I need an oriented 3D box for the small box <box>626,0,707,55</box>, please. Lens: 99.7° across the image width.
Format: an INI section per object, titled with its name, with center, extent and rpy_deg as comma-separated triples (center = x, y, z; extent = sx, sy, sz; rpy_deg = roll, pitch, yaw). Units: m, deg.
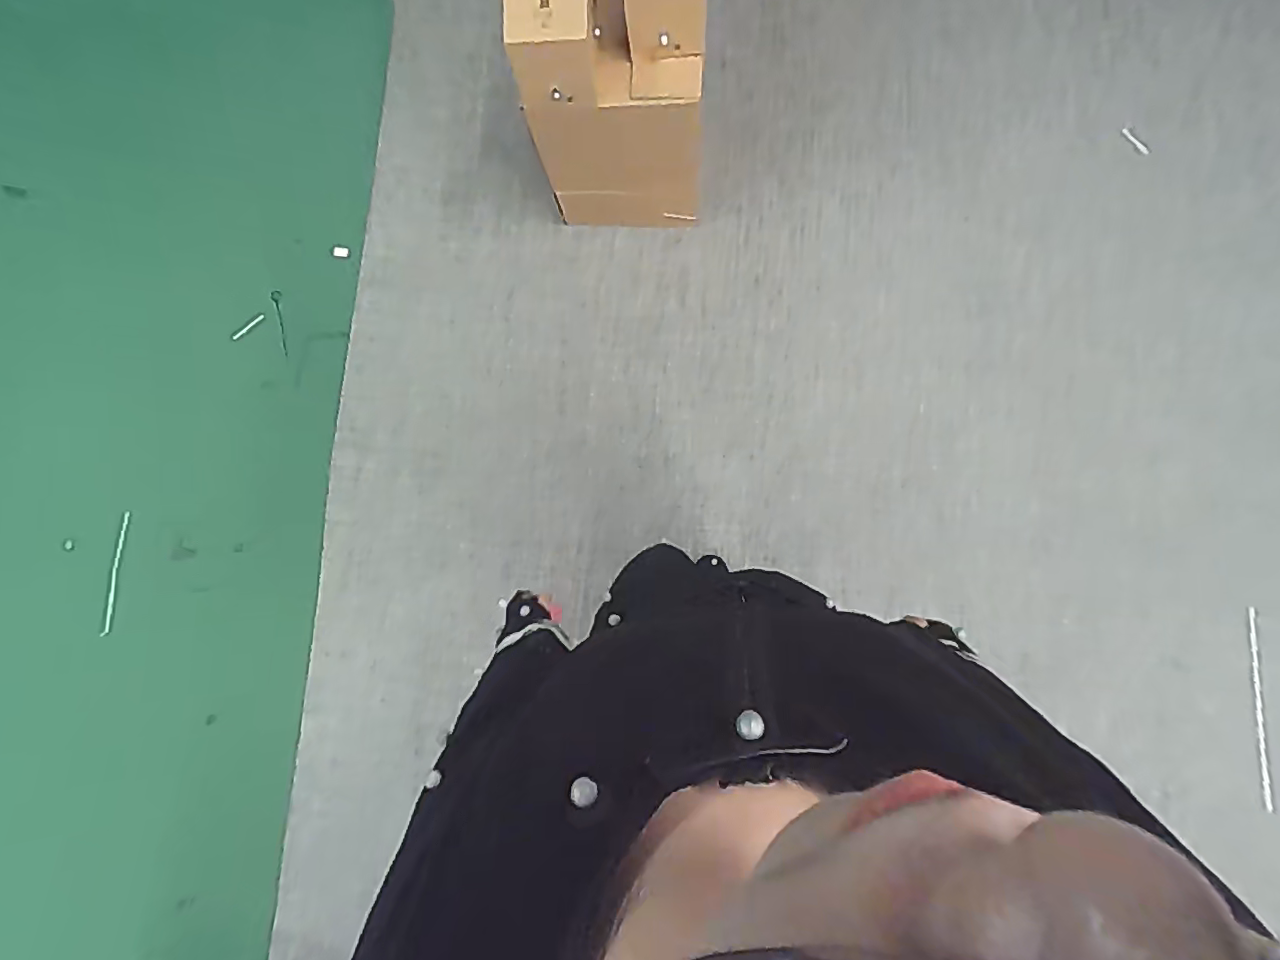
[small box]
center = 0.055, -1.036, 1.122
extent = 0.168, 0.176, 0.179
rpy_deg = -1, 84, 7
